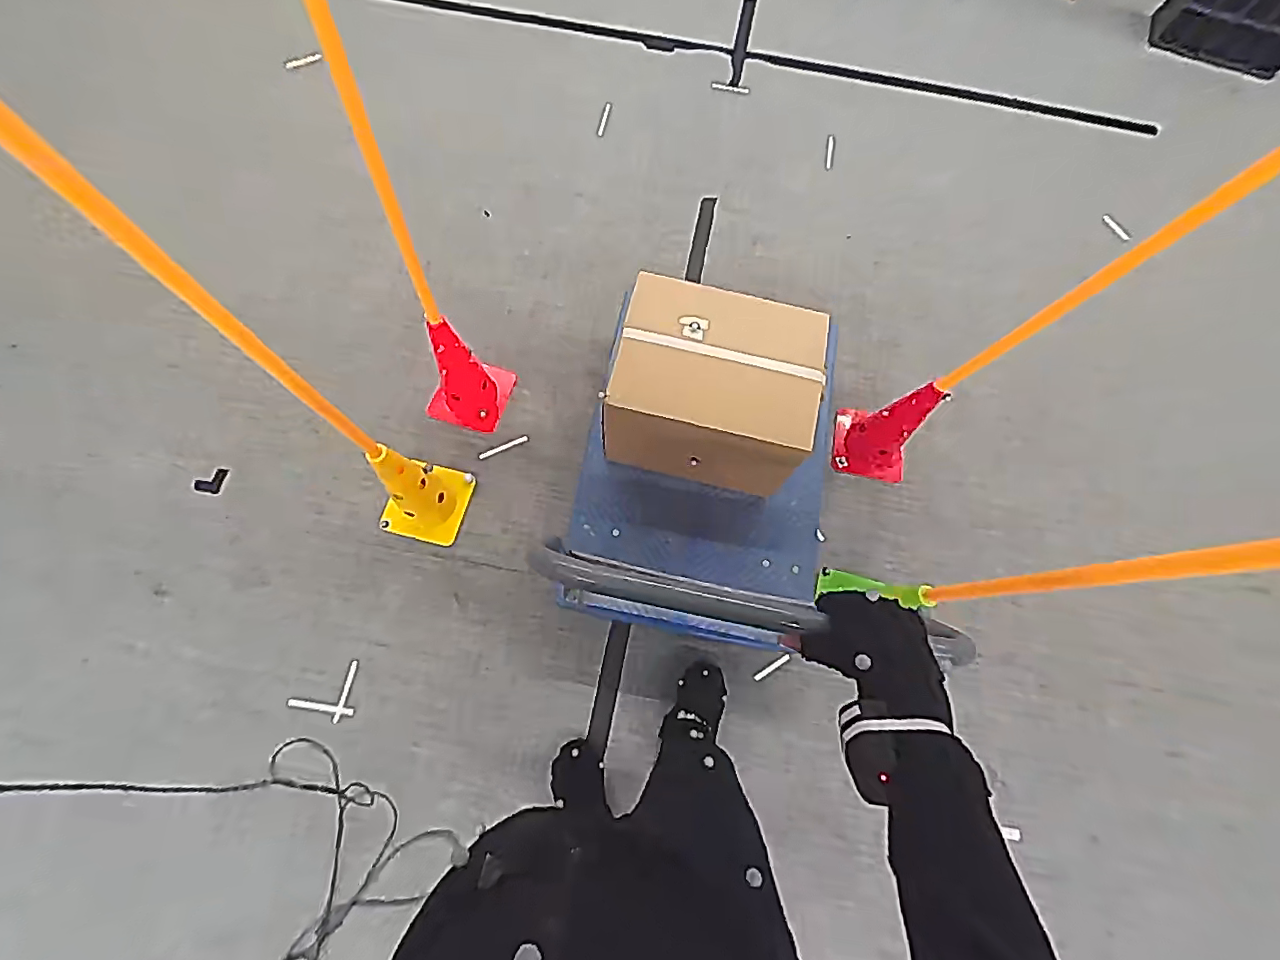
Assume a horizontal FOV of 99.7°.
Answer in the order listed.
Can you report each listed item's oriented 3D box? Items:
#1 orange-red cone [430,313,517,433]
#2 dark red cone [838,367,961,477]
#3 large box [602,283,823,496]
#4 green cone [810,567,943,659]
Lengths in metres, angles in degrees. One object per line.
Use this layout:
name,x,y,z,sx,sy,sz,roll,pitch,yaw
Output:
orange-red cone,-0.458,-0.300,1.372,0.198,0.360,0.199,19,70,2
dark red cone,0.668,-0.167,1.365,0.201,0.394,0.202,12,71,-1
large box,0.149,-0.183,1.212,0.408,0.320,0.320,13,72,2
green cone,0.555,0.283,1.224,0.202,0.368,0.200,15,71,1
